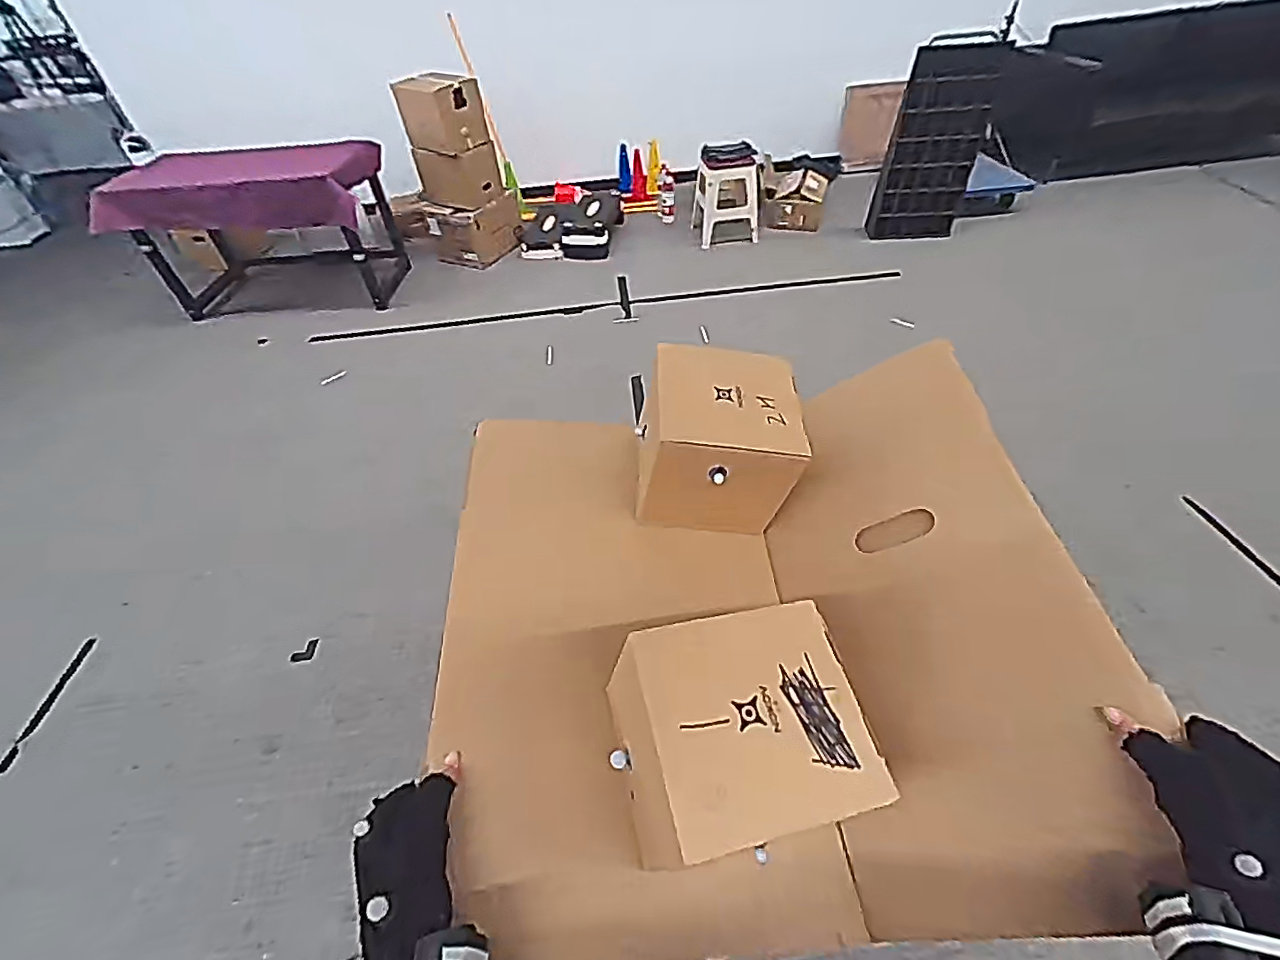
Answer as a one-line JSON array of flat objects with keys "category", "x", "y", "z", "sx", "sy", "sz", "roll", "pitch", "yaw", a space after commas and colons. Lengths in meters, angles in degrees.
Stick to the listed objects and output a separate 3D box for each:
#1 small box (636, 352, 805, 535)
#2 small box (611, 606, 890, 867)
[{"category": "small box", "x": 0.091, "y": -0.041, "z": 0.711, "sx": 0.179, "sy": 0.176, "sz": 0.168, "roll": 7, "pitch": 53, "yaw": -7}, {"category": "small box", "x": 0.081, "y": 0.236, "z": 0.498, "sx": 0.179, "sy": 0.176, "sz": 0.168, "roll": -6, "pitch": 55, "yaw": -15}]
